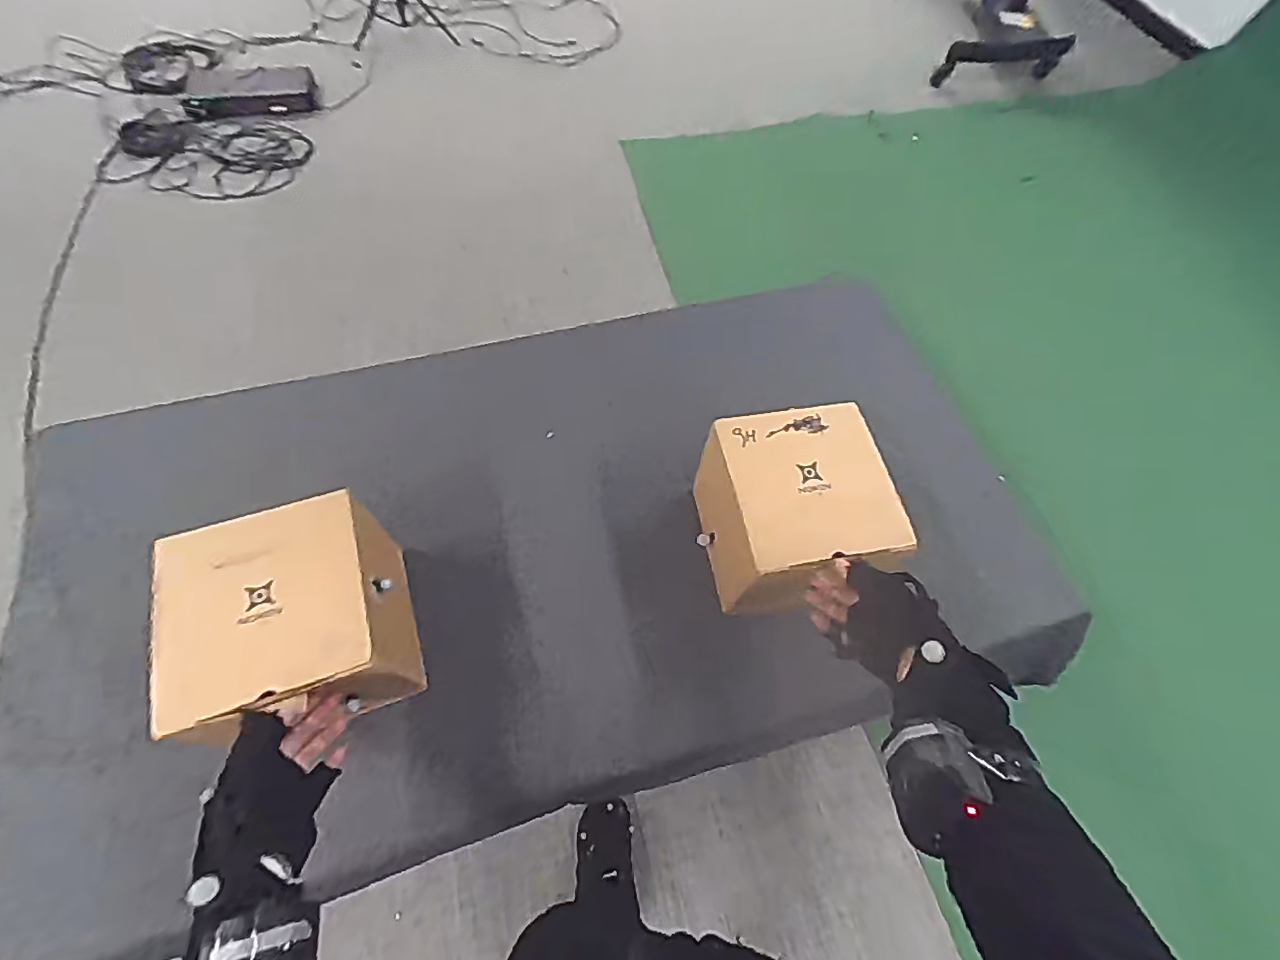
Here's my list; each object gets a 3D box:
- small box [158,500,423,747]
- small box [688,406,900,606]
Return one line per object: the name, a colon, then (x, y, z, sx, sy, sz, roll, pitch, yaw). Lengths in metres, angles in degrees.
small box: (-0.338, 0.151, 0.548, 0.168, 0.176, 0.179, -18, 64, -14)
small box: (0.160, 0.040, 0.631, 0.168, 0.176, 0.179, -8, 64, -7)
